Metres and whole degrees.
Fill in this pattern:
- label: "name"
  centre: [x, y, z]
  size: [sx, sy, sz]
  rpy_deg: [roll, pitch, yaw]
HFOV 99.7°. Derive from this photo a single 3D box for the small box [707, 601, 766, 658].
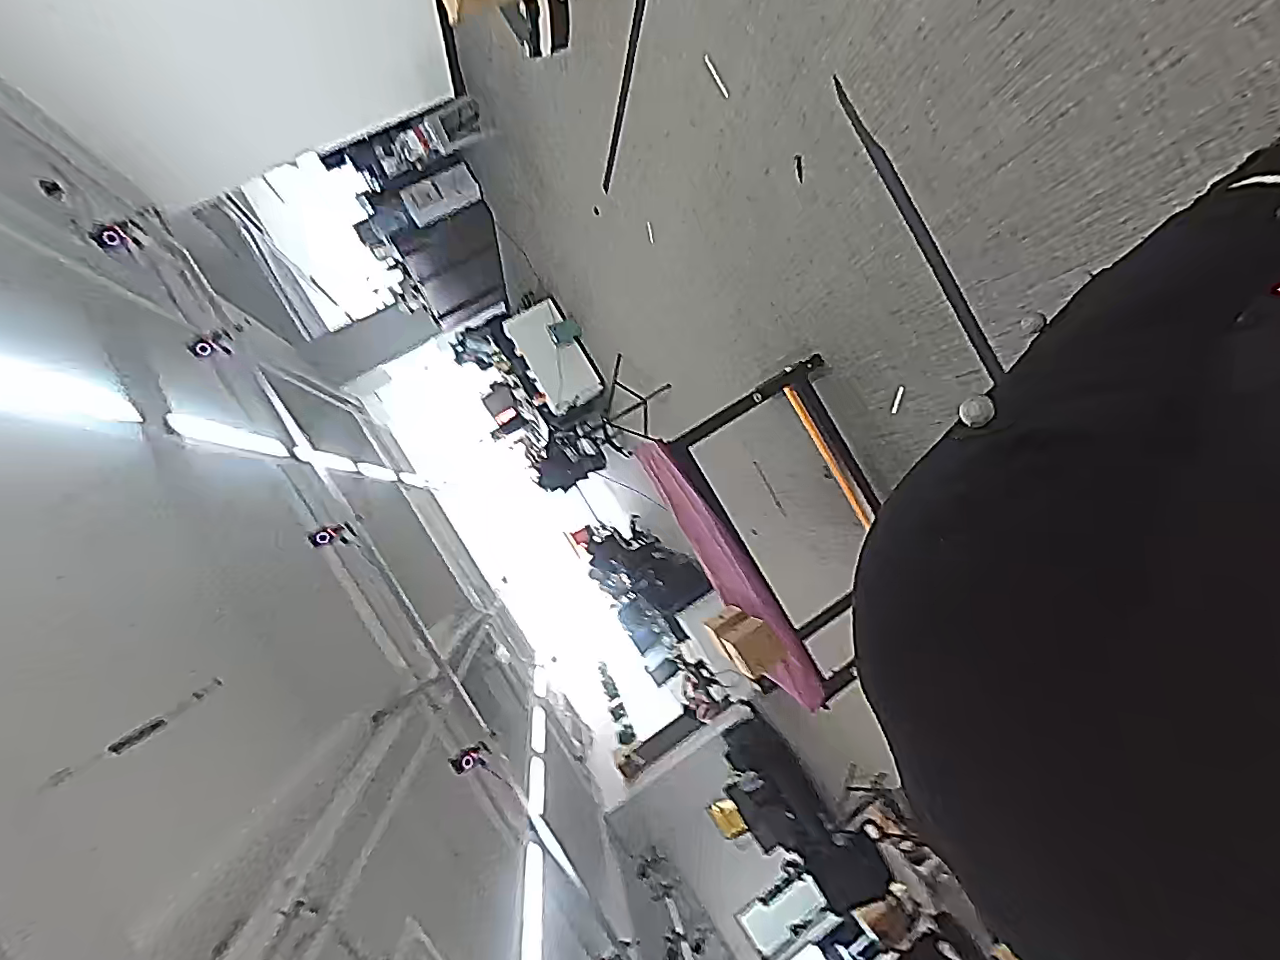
- label: "small box"
  centre: [0.439, 0.673, 2.459]
  size: [0.179, 0.176, 0.168]
  rpy_deg: [58, 170, 1]
